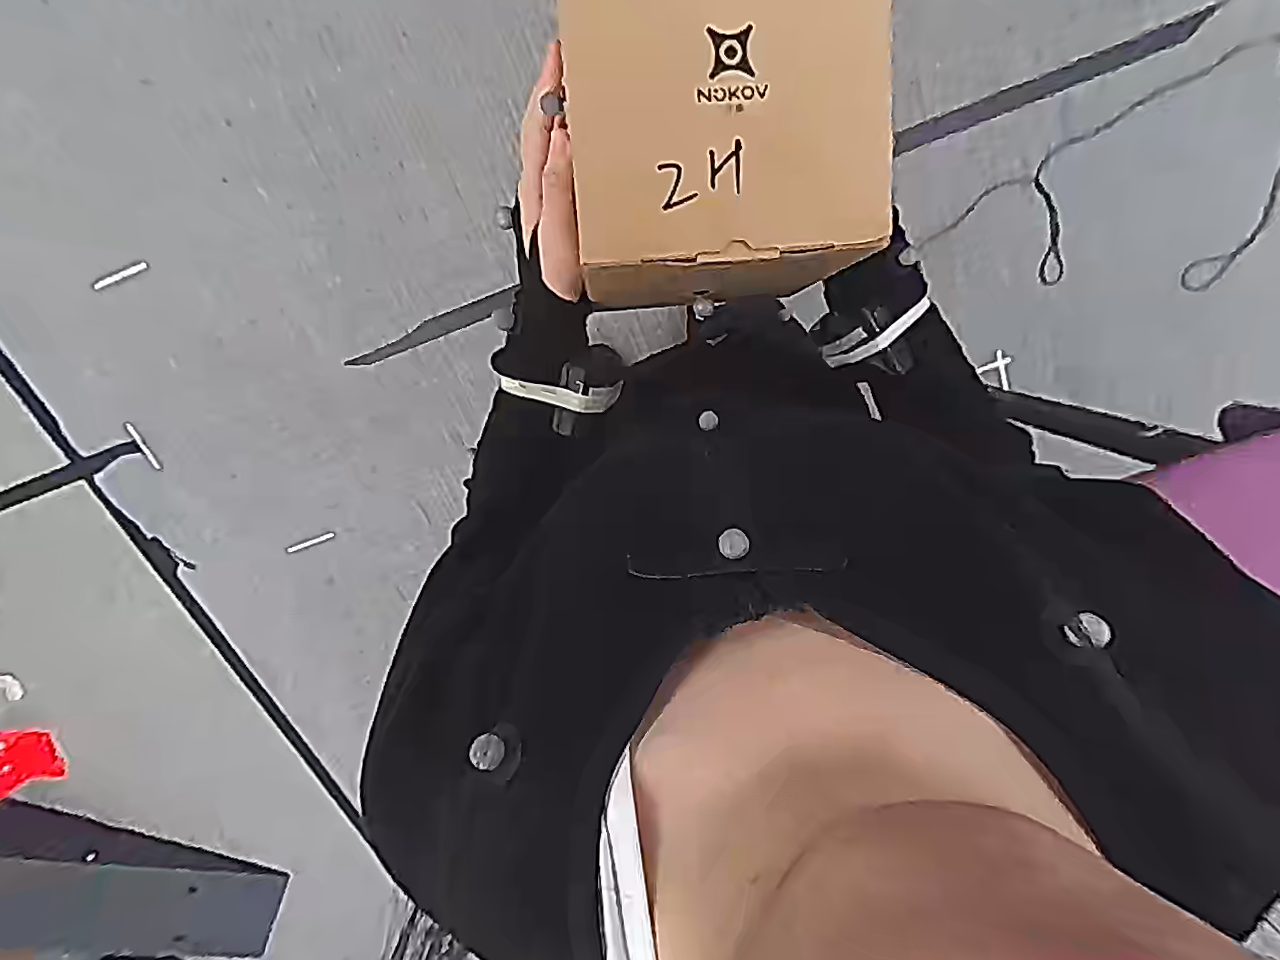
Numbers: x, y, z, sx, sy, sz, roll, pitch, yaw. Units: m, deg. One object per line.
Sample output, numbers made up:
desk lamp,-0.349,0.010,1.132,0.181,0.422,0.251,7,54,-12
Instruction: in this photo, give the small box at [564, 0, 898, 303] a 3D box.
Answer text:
small box,0.041,-0.221,0.343,0.168,0.176,0.179,-6,100,-2
